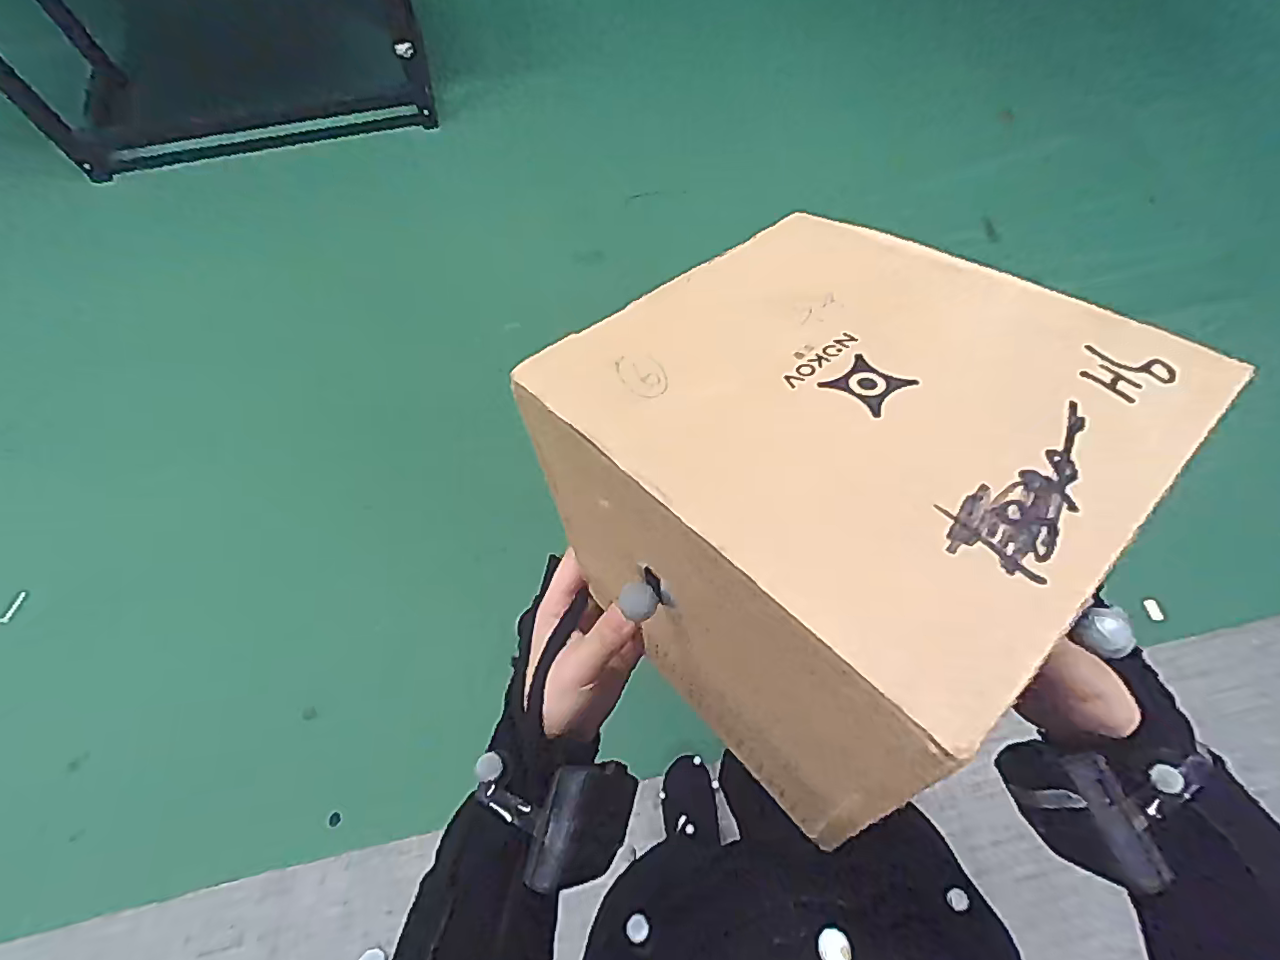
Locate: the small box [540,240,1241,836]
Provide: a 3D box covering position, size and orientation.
[{"bbox_3d":[0.084,0.023,0.249,0.168,0.176,0.179,-37,55,-21],"label":"small box"}]
